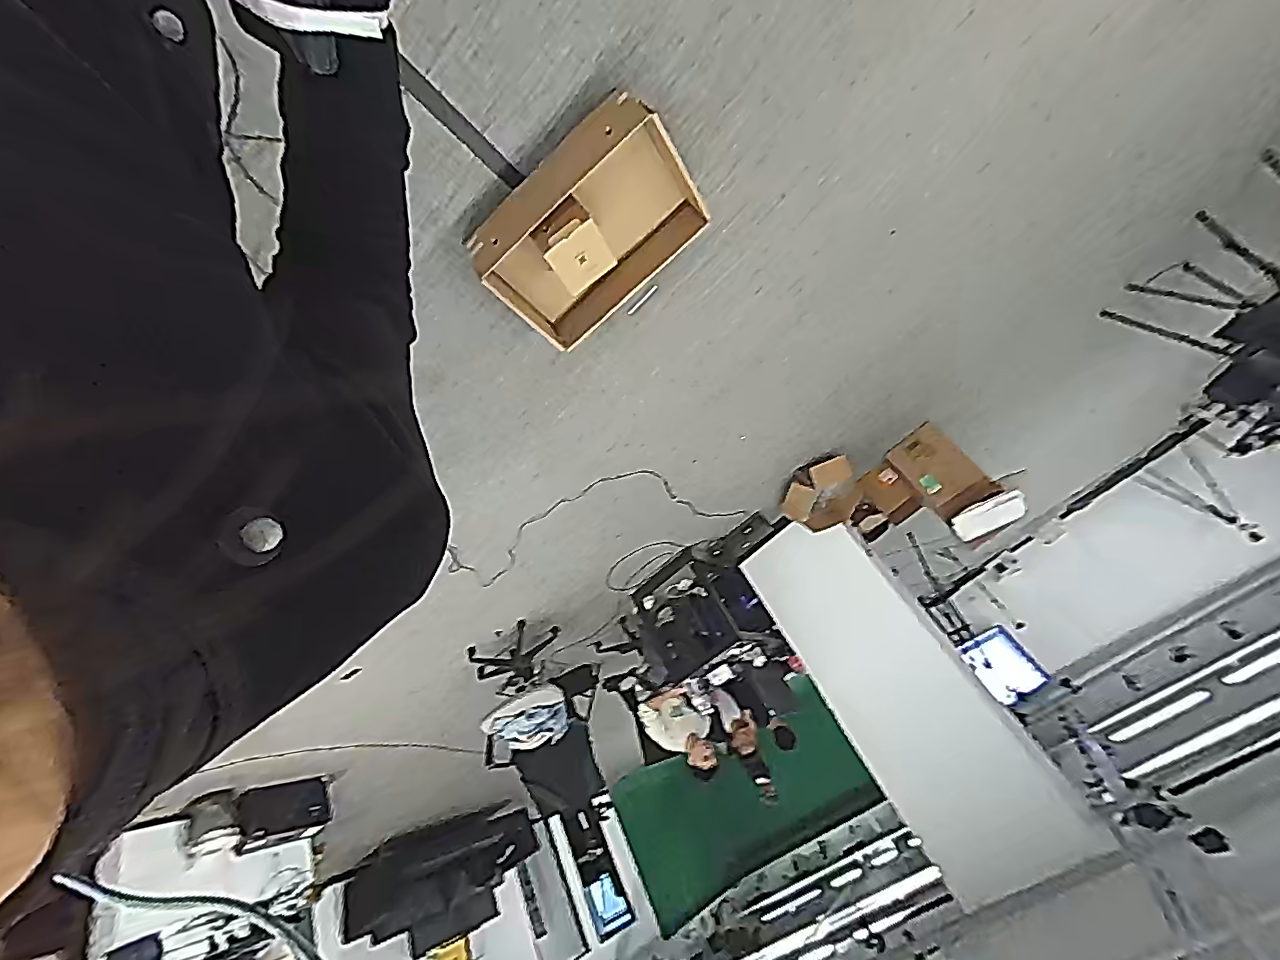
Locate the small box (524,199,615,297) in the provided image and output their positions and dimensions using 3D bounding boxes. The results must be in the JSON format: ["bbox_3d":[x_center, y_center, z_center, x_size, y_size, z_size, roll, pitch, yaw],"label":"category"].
[{"bbox_3d":[-0.206,-0.675,1.556,0.168,0.176,0.179,-35,147,5],"label":"small box"}]
